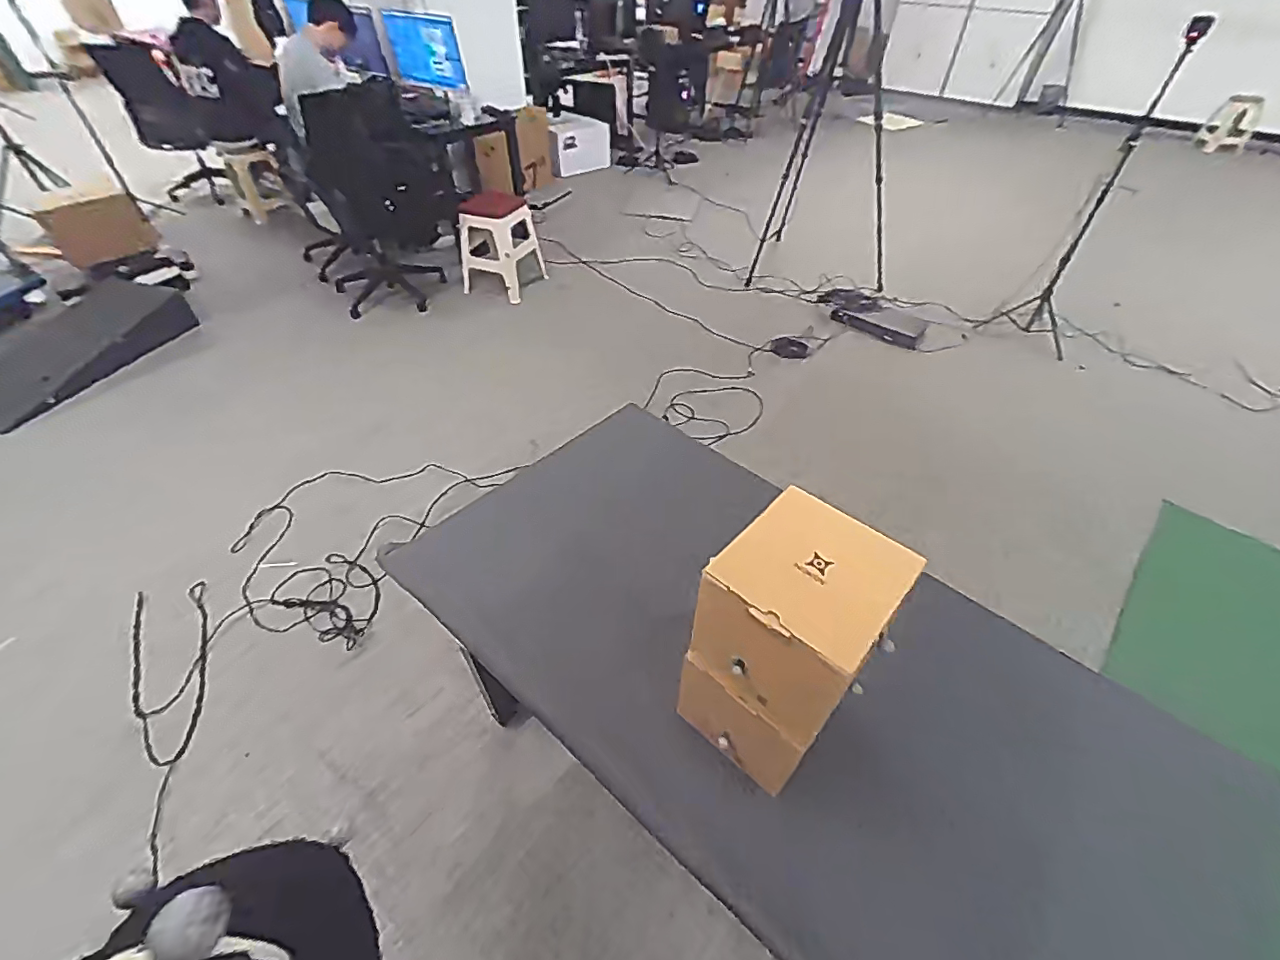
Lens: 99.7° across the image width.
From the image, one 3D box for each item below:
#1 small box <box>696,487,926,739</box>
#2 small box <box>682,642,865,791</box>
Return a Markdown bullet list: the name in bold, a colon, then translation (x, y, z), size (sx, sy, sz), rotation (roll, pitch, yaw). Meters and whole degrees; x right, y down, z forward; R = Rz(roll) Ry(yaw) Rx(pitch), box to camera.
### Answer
- **small box**: translation (0.178, 0.147, 0.609), size (0.168, 0.176, 0.179), rotation (34, 53, 27)
- **small box**: translation (0.170, 0.266, 0.719), size (0.168, 0.176, 0.179), rotation (33, 52, 28)
